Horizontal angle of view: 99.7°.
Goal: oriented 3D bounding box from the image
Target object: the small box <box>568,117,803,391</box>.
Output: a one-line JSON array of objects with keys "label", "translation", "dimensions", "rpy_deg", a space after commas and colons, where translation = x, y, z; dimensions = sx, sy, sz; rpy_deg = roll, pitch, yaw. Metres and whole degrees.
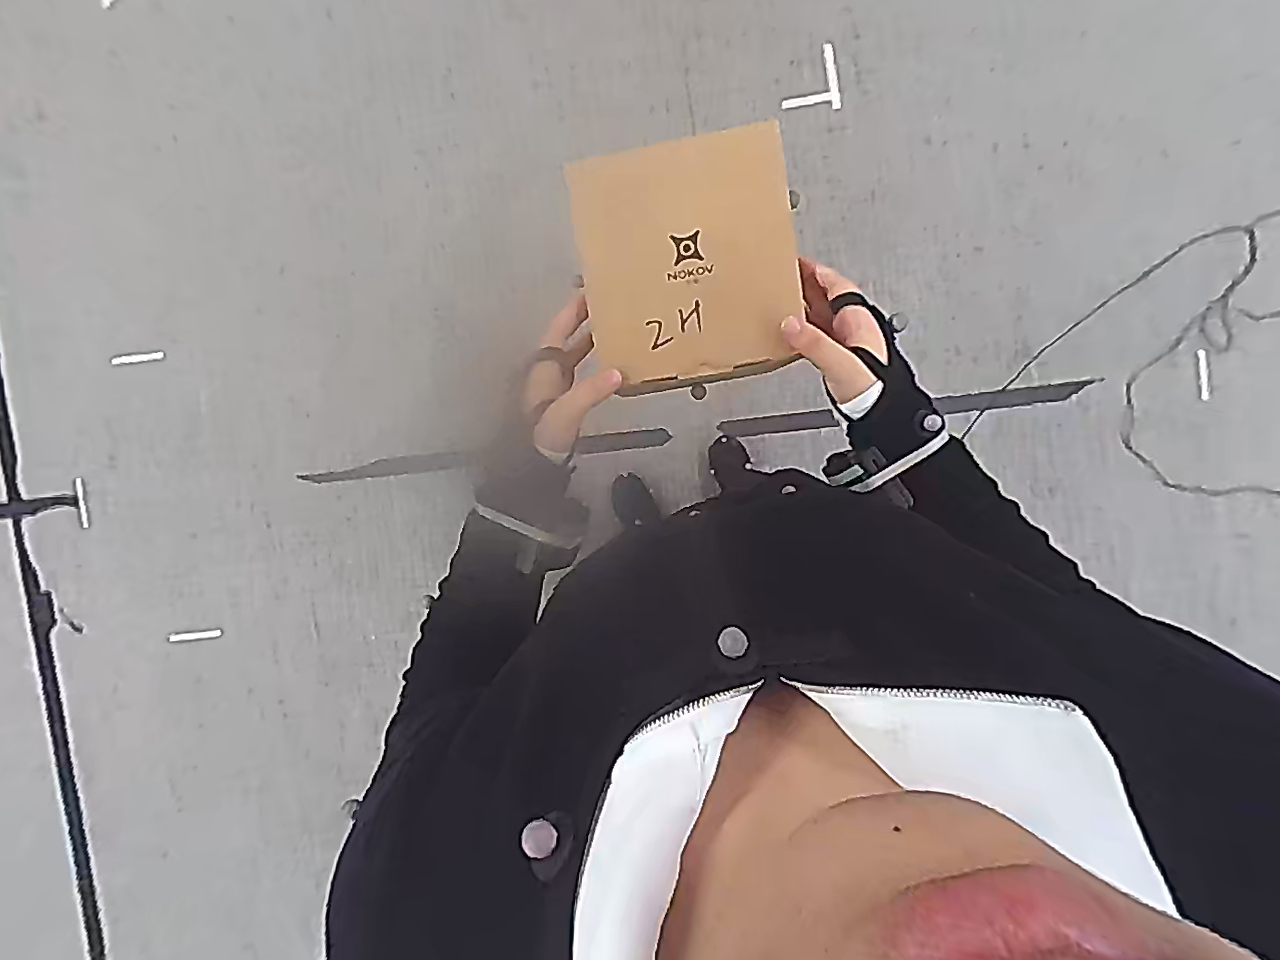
[{"label": "small box", "translation": [0.039, -0.184, 0.496], "dimensions": [0.168, 0.176, 0.179], "rpy_deg": [-8, 96, 5]}]
